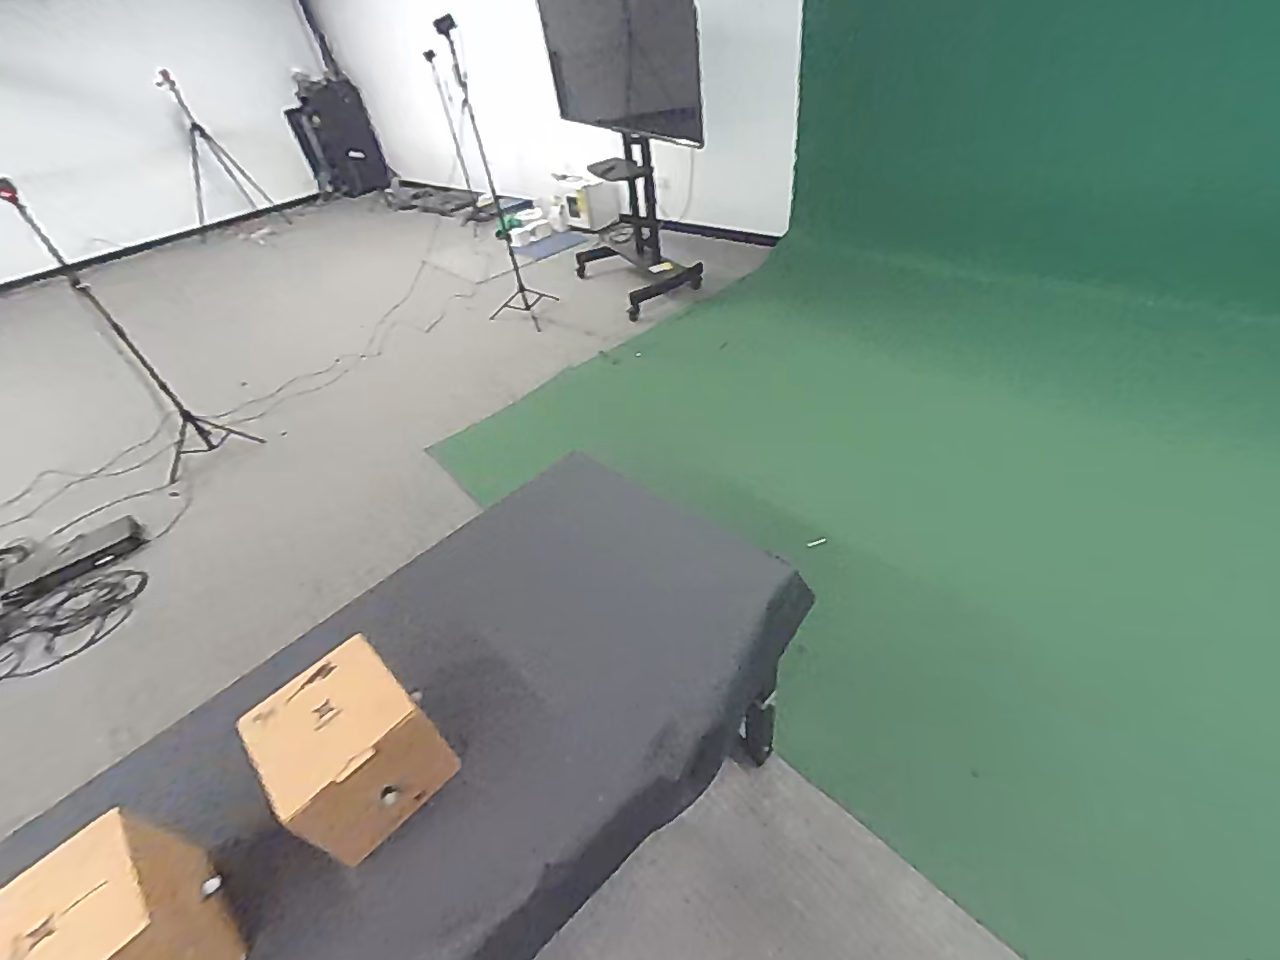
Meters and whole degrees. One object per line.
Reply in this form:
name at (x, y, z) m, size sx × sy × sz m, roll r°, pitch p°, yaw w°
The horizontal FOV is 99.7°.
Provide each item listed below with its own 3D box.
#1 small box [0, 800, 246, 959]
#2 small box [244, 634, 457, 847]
small box at (-0.582, 0.504, 0.583) m, size 0.168 × 0.176 × 0.179 m, roll 27°, pitch 51°, yaw 34°
small box at (-0.376, 0.351, 0.725) m, size 0.179 × 0.176 × 0.168 m, roll 29°, pitch 53°, yaw 36°
